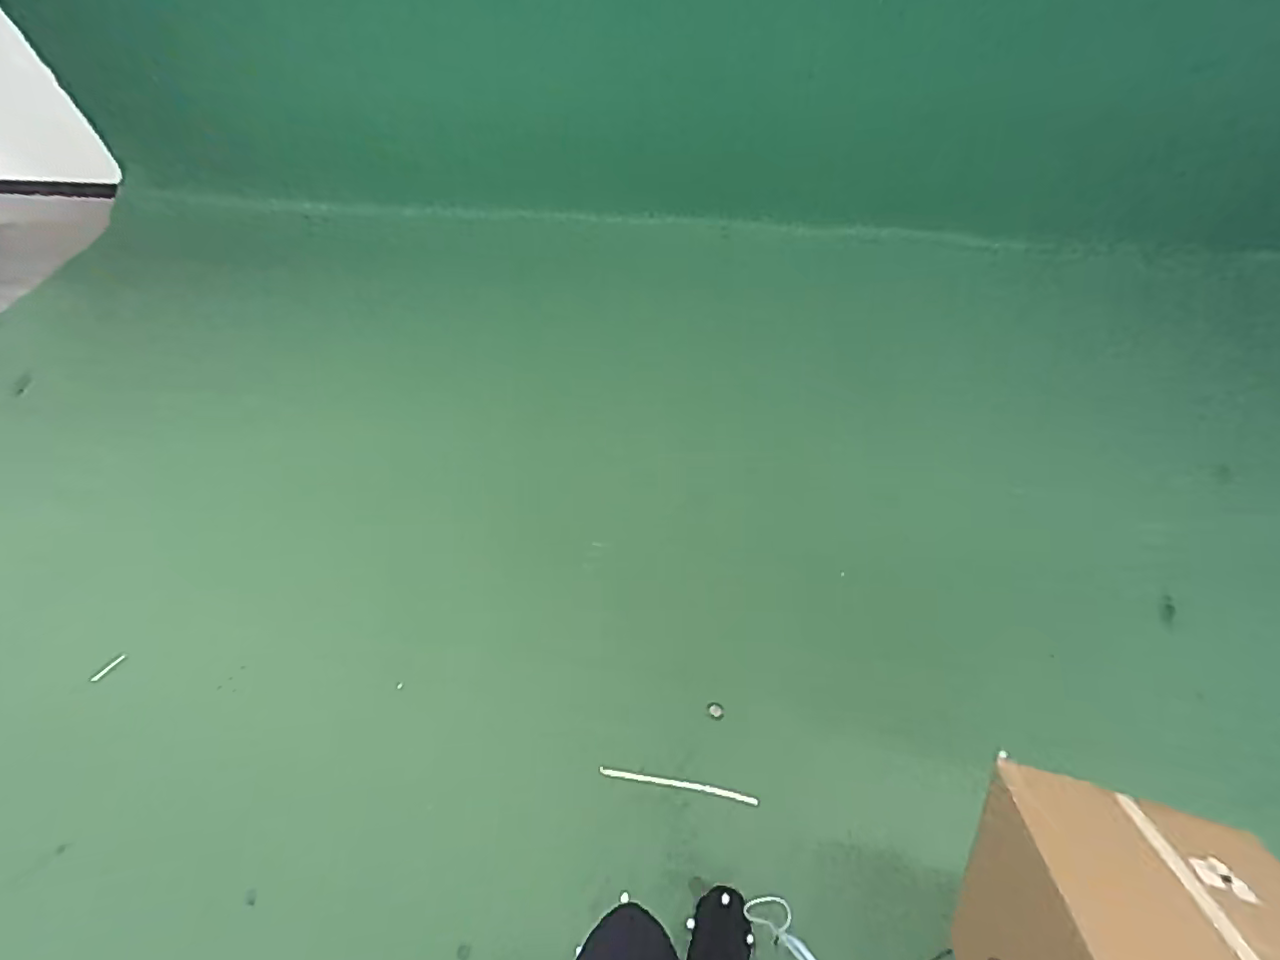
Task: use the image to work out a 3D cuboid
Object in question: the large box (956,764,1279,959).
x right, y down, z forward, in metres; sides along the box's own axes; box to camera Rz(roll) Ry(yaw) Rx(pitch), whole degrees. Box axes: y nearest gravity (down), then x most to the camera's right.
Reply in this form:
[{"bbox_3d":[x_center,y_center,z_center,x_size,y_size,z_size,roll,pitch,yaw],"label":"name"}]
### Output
[{"bbox_3d":[0.601,0.624,0.615,0.320,0.408,0.320,12,99,18],"label":"large box"}]
